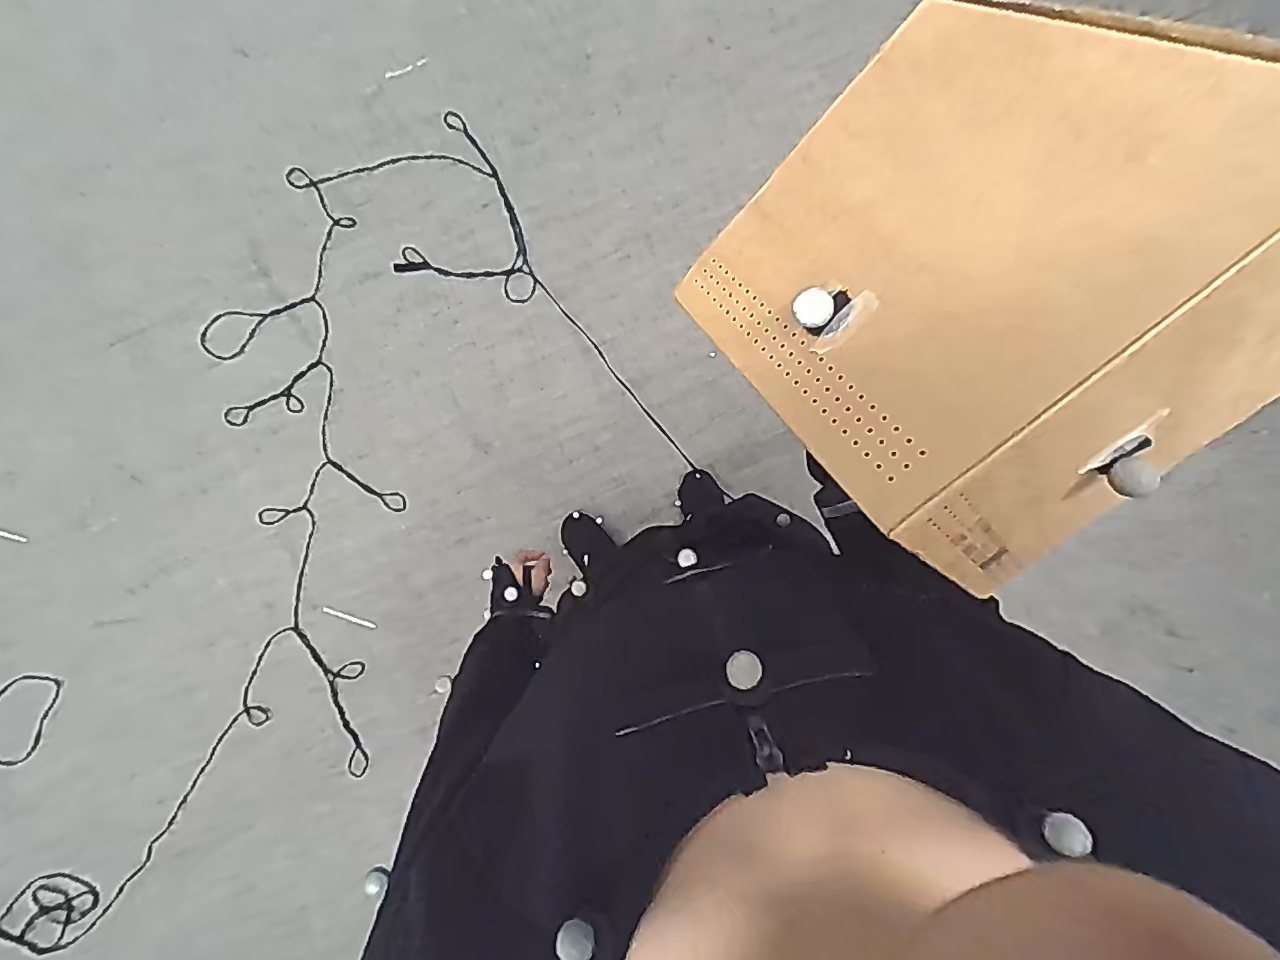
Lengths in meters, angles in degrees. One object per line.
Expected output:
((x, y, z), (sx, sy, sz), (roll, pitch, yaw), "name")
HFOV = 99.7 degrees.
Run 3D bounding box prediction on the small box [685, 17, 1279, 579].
((0.157, -0.073, 0.276), (0.176, 0.168, 0.179), (-45, 50, 19), "small box")
